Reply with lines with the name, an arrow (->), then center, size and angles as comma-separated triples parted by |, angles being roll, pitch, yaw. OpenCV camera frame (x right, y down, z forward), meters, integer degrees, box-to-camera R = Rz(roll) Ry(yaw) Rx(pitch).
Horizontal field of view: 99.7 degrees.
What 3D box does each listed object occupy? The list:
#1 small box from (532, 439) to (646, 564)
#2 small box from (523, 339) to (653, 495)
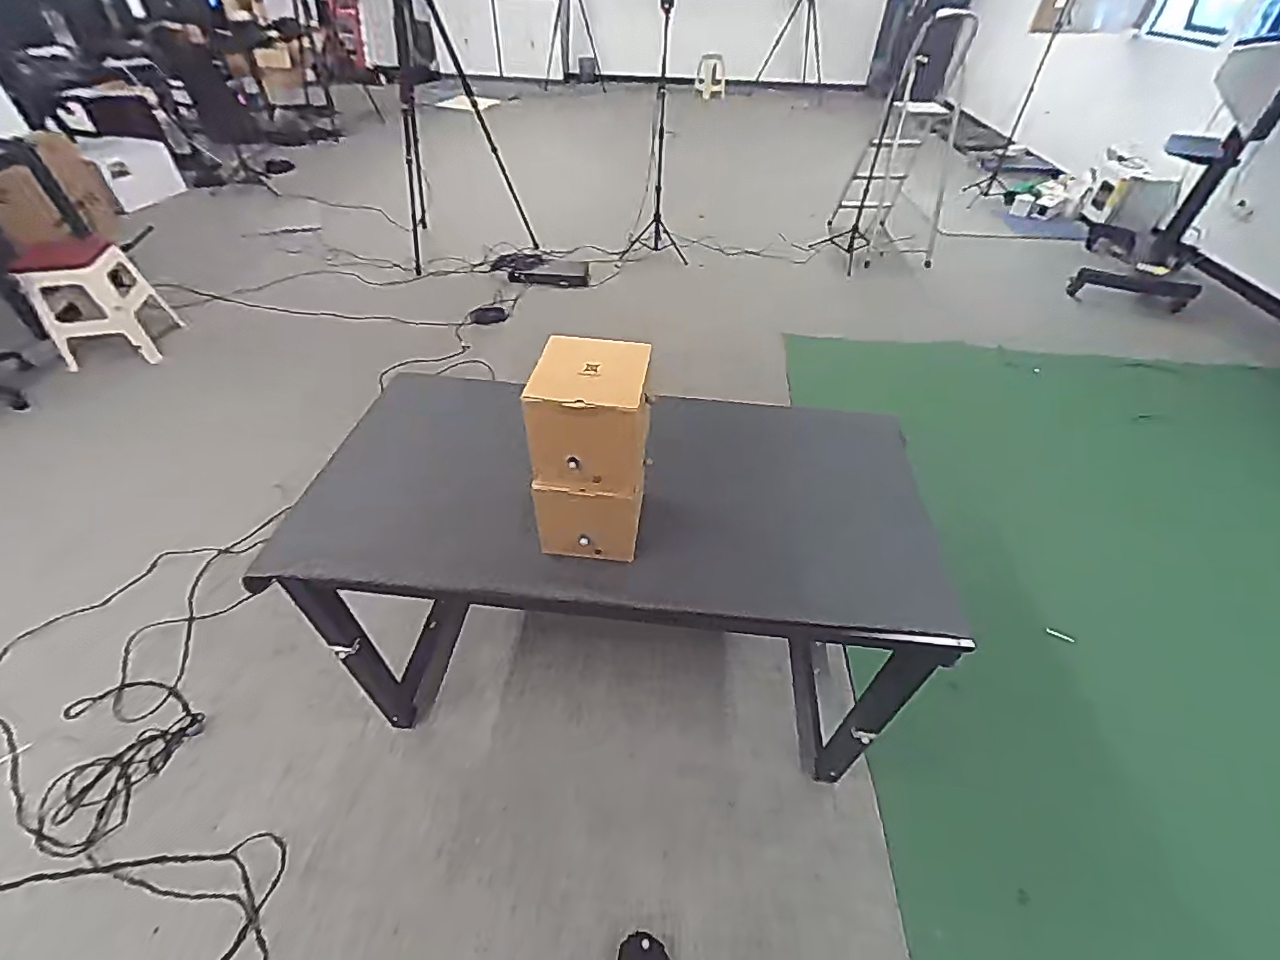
small box -> -0.083, 0.024, 0.960 | 0.168, 0.176, 0.179 | 5, 44, 4
small box -> -0.075, -0.100, 0.854 | 0.168, 0.176, 0.179 | 6, 44, 4
